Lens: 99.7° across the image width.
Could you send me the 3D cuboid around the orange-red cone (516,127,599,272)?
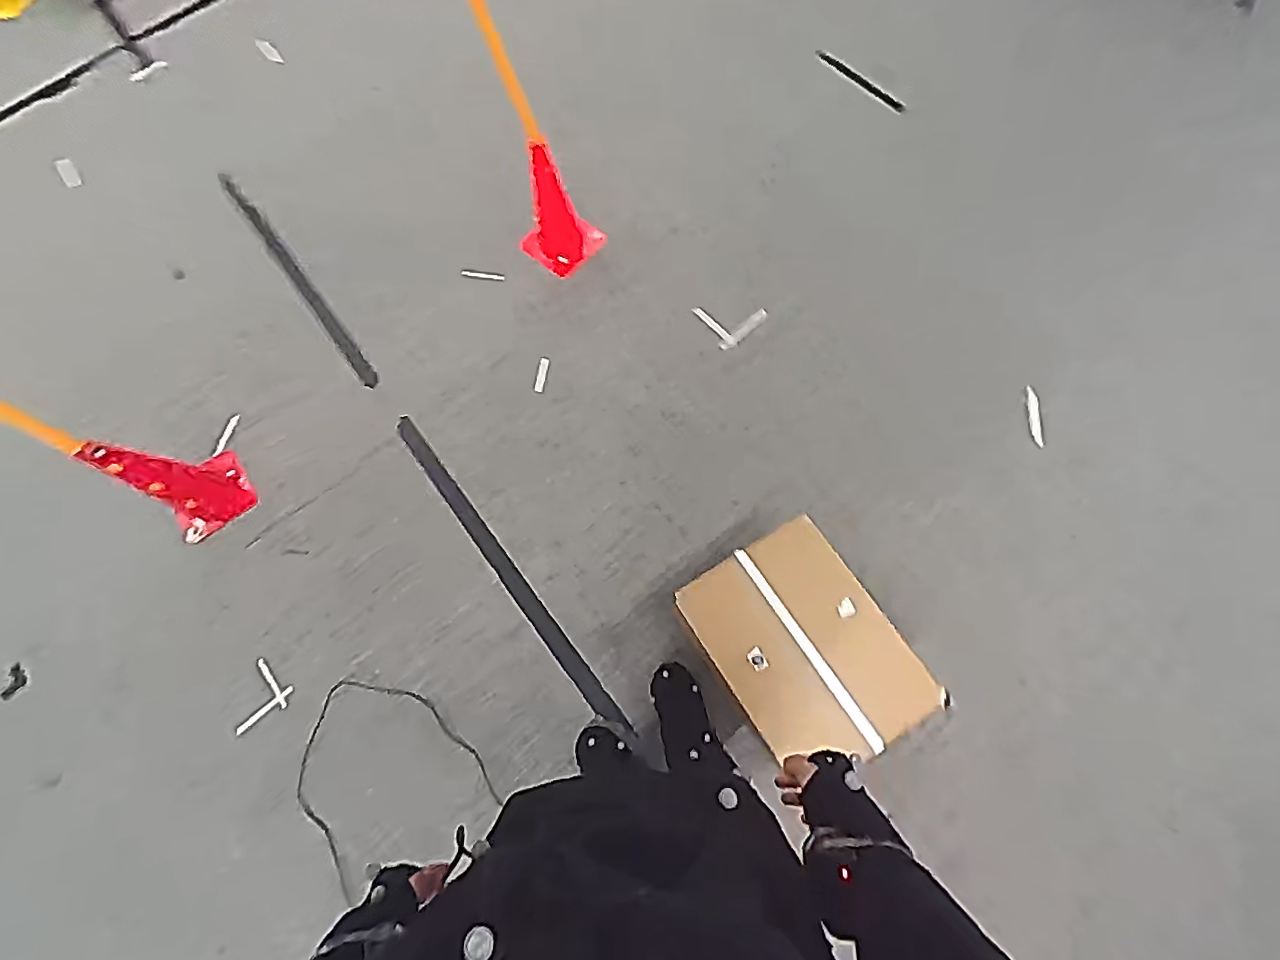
[{"bbox_3d":[-0.255,-0.784,1.467,0.198,0.360,0.199,40,78,13],"label":"orange-red cone"}]
